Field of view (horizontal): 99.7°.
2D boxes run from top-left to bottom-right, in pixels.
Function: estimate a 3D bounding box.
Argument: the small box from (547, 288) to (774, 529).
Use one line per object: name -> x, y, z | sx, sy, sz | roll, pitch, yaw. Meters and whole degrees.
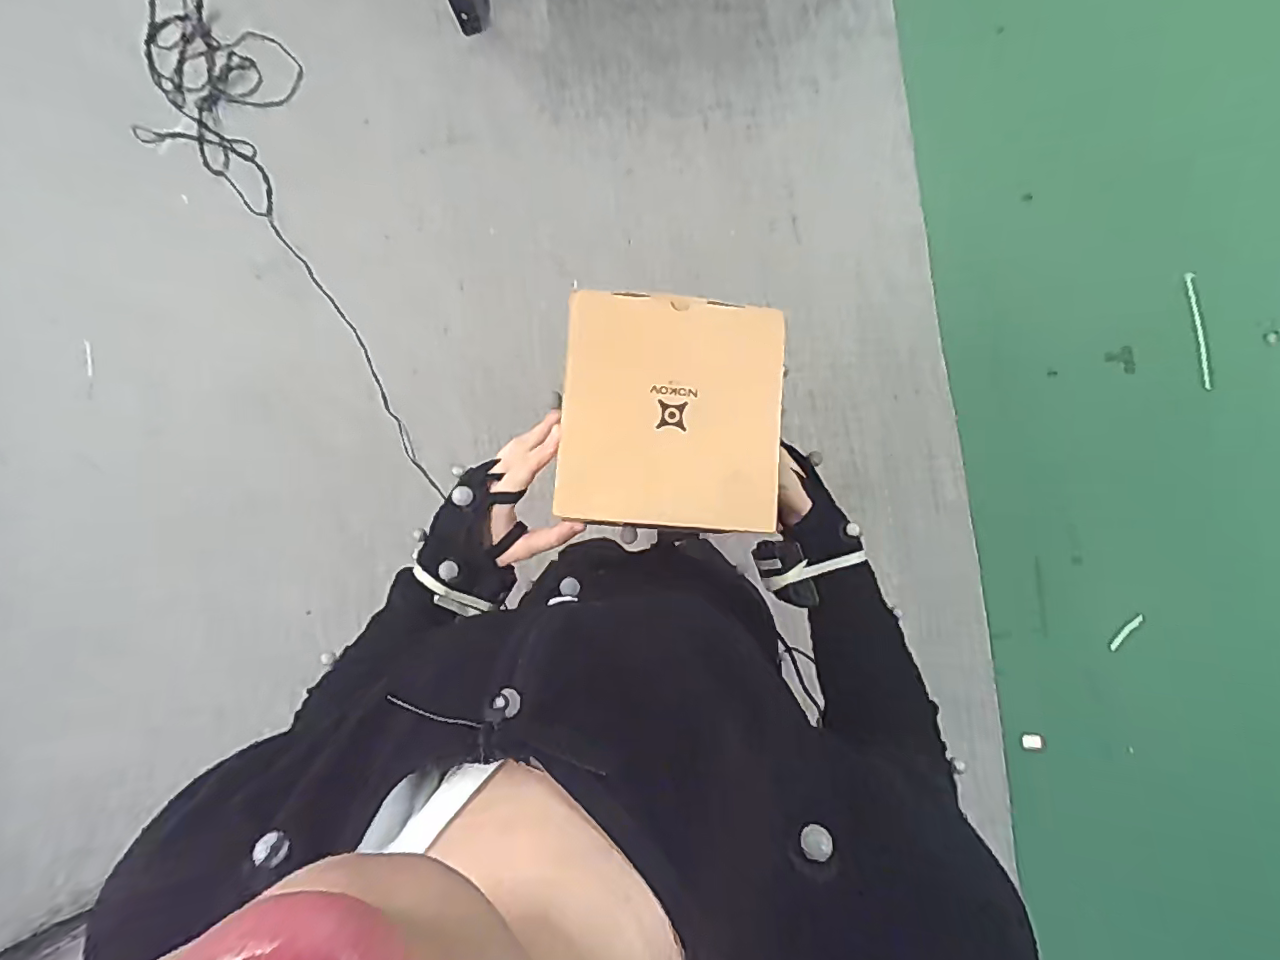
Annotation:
small box -> 0.014, -0.048, 0.488 | 0.168, 0.176, 0.179 | 3, 83, -3
